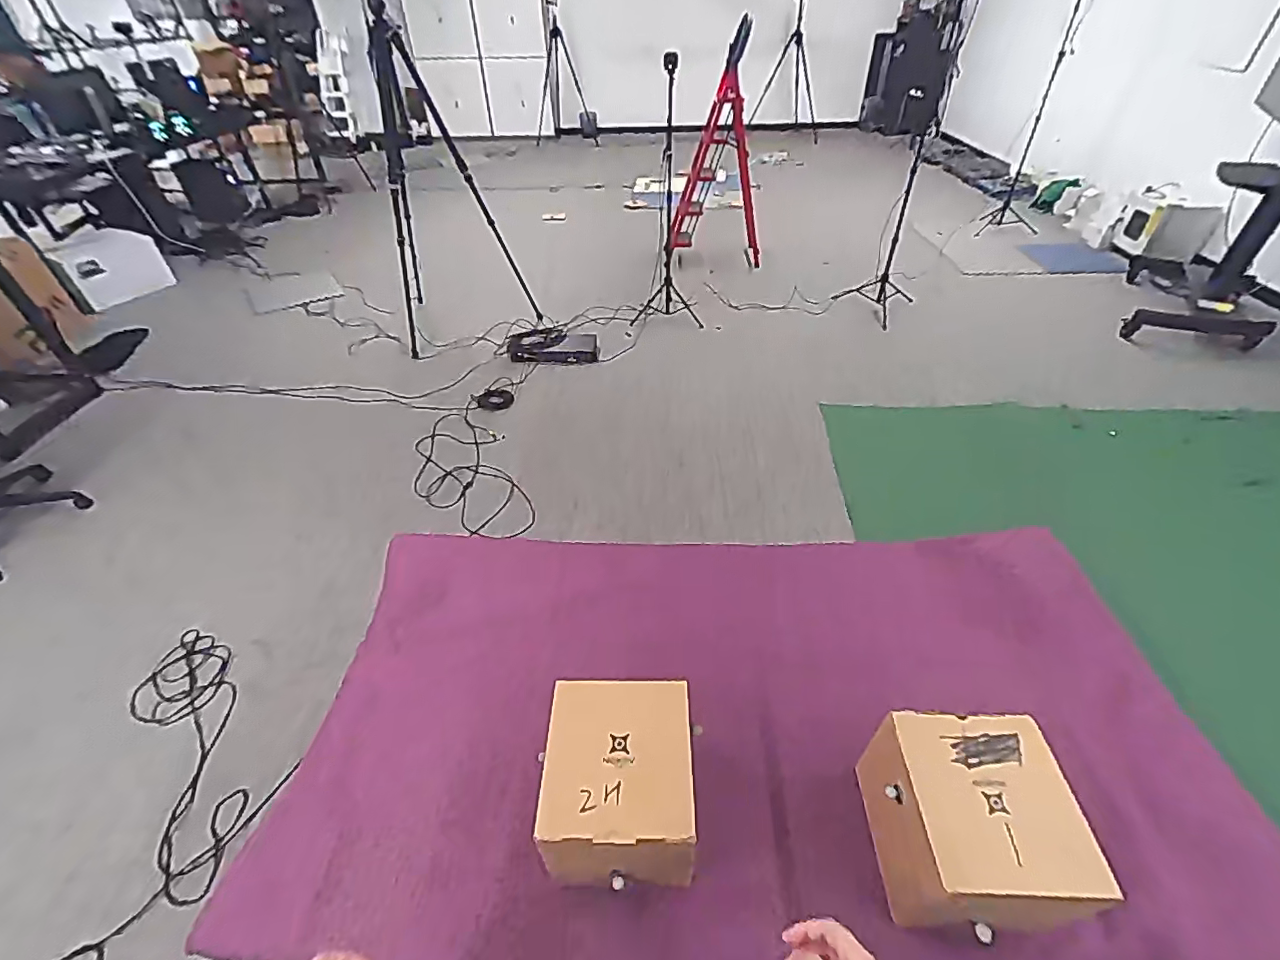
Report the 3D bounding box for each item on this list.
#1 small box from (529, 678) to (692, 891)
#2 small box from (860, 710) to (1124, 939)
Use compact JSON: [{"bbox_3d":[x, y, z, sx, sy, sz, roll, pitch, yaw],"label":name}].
[{"bbox_3d":[-0.026,0.362,0.650,0.168,0.176,0.179,-1,40,2],"label":"small box"},{"bbox_3d":[0.366,0.386,0.611,0.168,0.176,0.179,0,42,3],"label":"small box"}]
